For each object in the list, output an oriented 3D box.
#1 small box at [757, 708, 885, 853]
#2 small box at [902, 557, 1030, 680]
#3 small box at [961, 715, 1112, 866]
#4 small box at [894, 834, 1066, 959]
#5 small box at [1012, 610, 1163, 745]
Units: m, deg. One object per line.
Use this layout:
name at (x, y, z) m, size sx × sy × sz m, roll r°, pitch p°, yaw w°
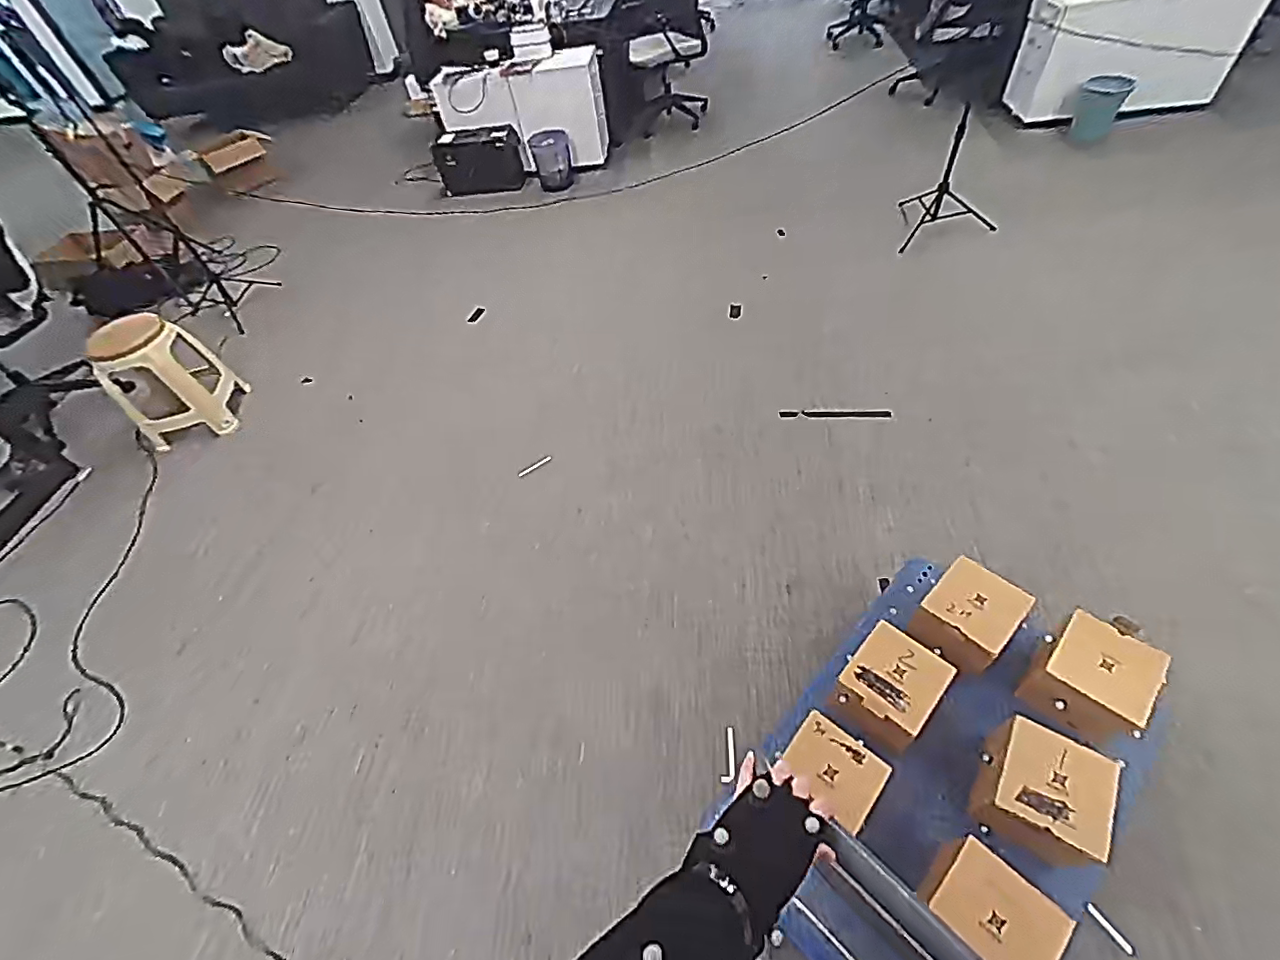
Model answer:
small box at (0.345, 0.592, 1.059) m, size 0.168 × 0.176 × 0.179 m, roll 34°, pitch 63°, yaw 29°
small box at (0.726, 0.316, 1.226) m, size 0.179 × 0.176 × 0.168 m, roll -38°, pitch 56°, yaw -20°
small box at (0.729, 0.583, 1.011) m, size 0.168 × 0.176 × 0.179 m, roll 24°, pitch 58°, yaw 25°
small box at (0.554, 0.744, 0.910) m, size 0.179 × 0.176 × 0.168 m, roll -39°, pitch 57°, yaw -22°
small box at (0.912, 0.413, 1.121) m, size 0.168 × 0.176 × 0.179 m, roll 34°, pitch 63°, yaw 30°
